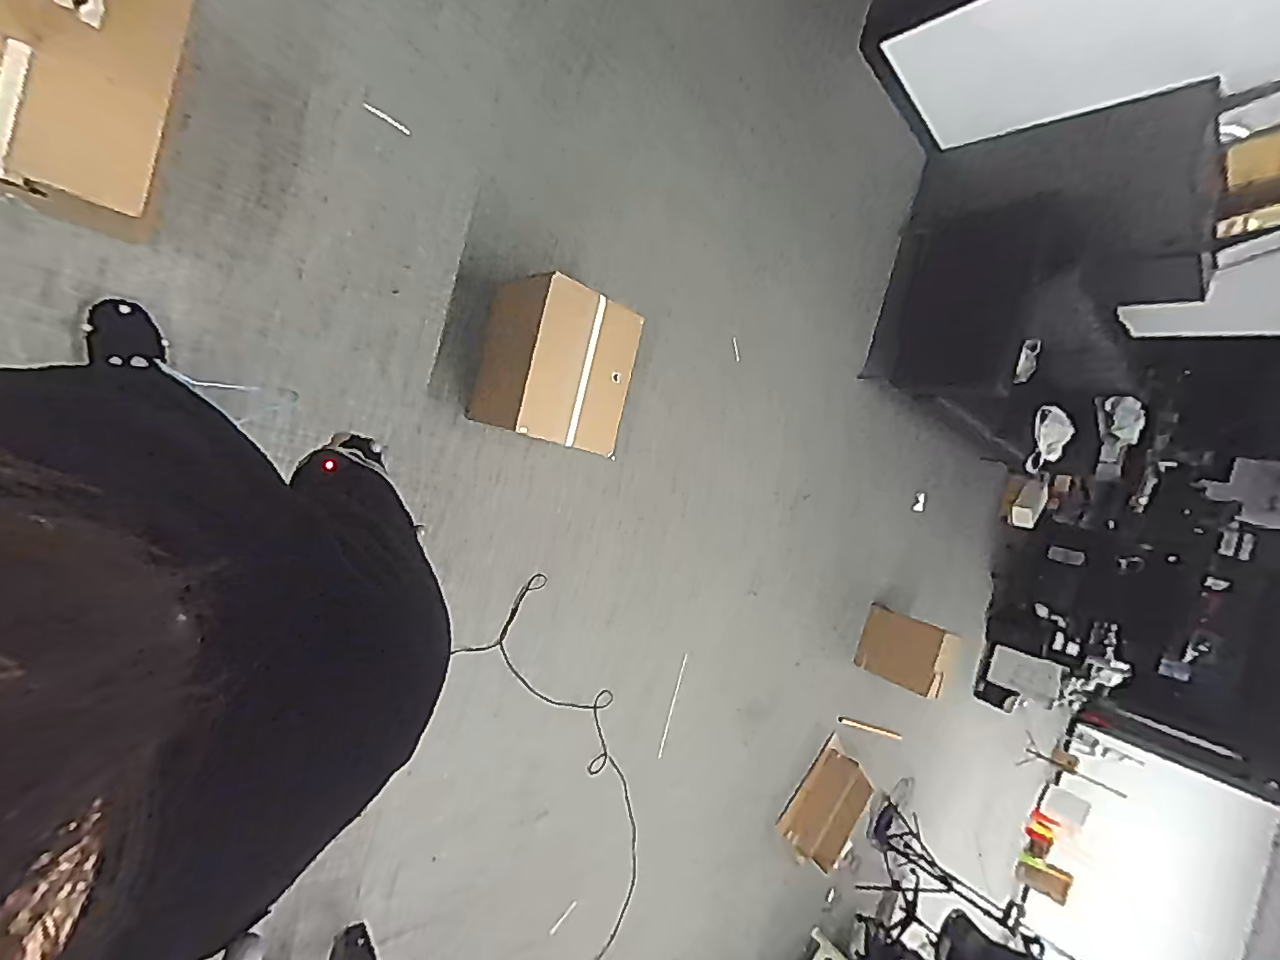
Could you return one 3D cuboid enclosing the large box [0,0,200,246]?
[{"bbox_3d":[-0.939,-0.655,0.864,0.320,0.320,0.408,13,91,-41],"label":"large box"}]
